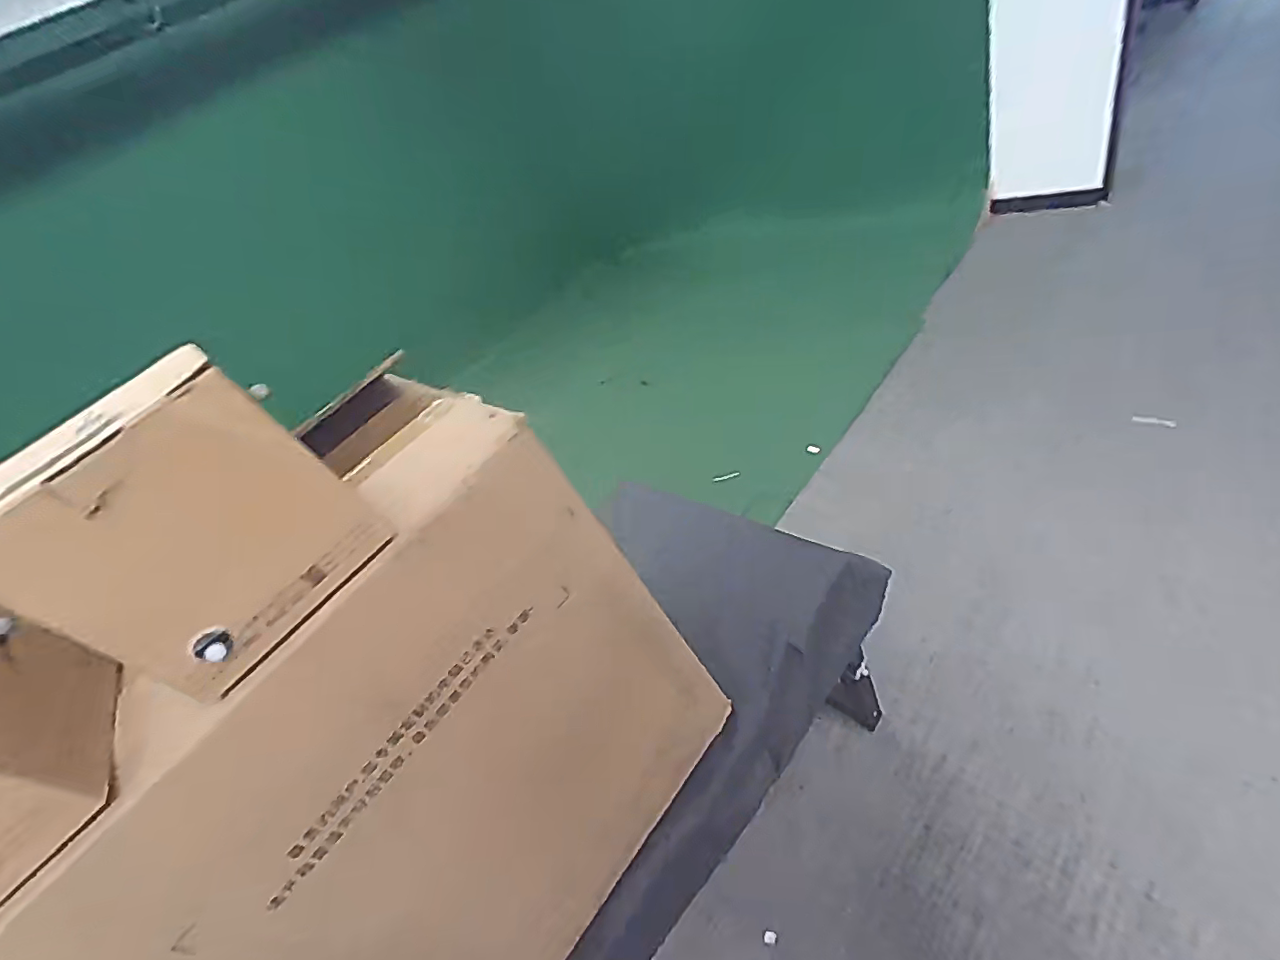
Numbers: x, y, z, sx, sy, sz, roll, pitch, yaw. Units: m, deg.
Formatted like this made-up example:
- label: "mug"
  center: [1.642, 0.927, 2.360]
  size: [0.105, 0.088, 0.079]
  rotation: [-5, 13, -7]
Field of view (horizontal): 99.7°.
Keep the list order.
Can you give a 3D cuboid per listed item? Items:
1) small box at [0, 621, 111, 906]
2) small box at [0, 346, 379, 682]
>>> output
- label: "small box"
  center: [-0.476, 0.186, 0.326]
  size: [0.179, 0.176, 0.168]
  rotation: [22, 64, 43]
- label: "small box"
  center: [-0.335, 0.022, 0.406]
  size: [0.179, 0.176, 0.168]
  rotation: [19, 59, 44]
